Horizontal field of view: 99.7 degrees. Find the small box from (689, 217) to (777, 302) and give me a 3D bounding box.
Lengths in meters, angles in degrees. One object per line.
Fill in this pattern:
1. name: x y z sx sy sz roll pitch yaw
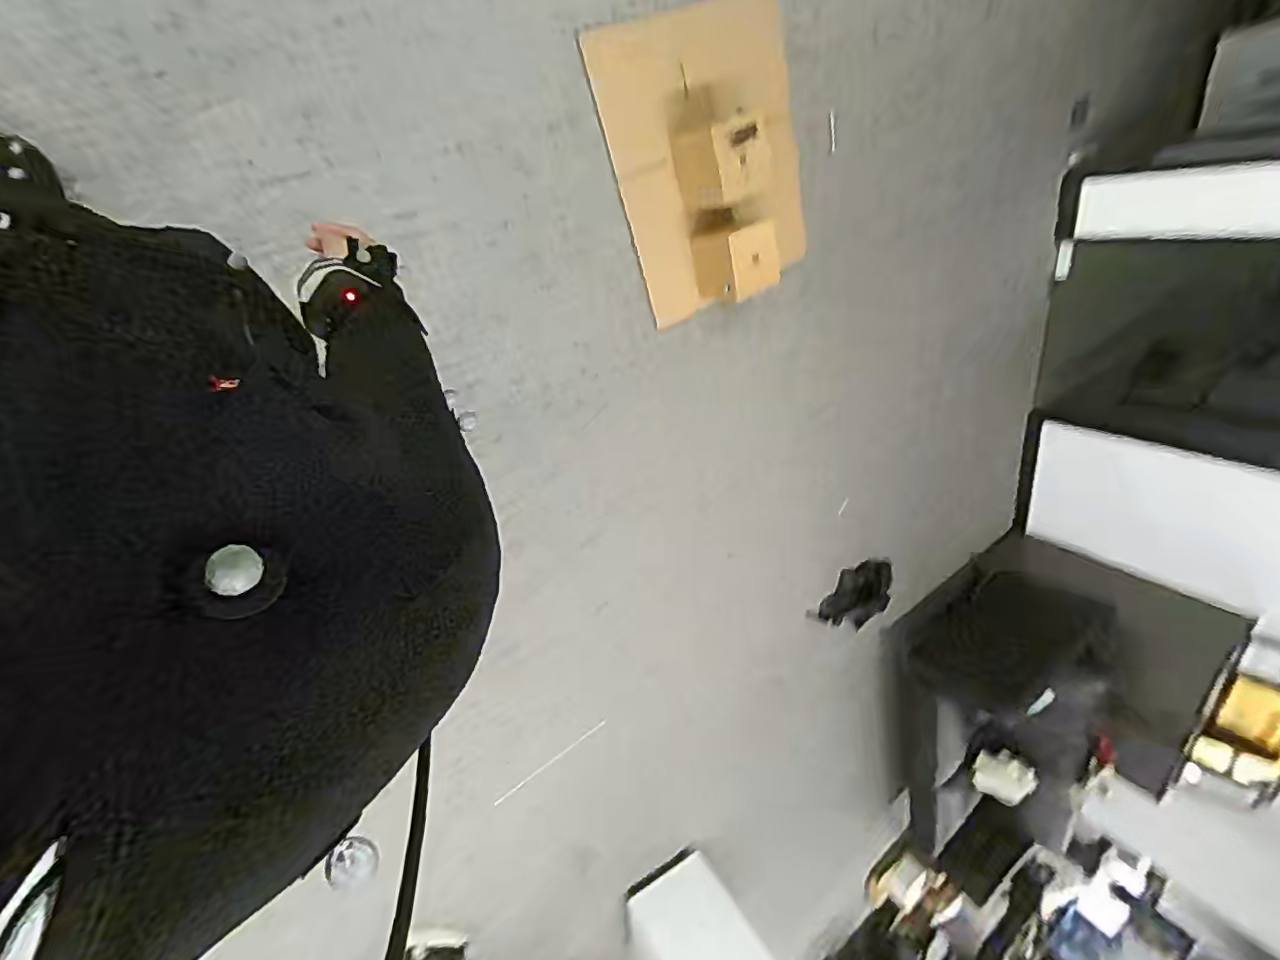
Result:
1. small box: 0.256 -0.615 1.510 0.168 0.176 0.179 -31 124 -20
